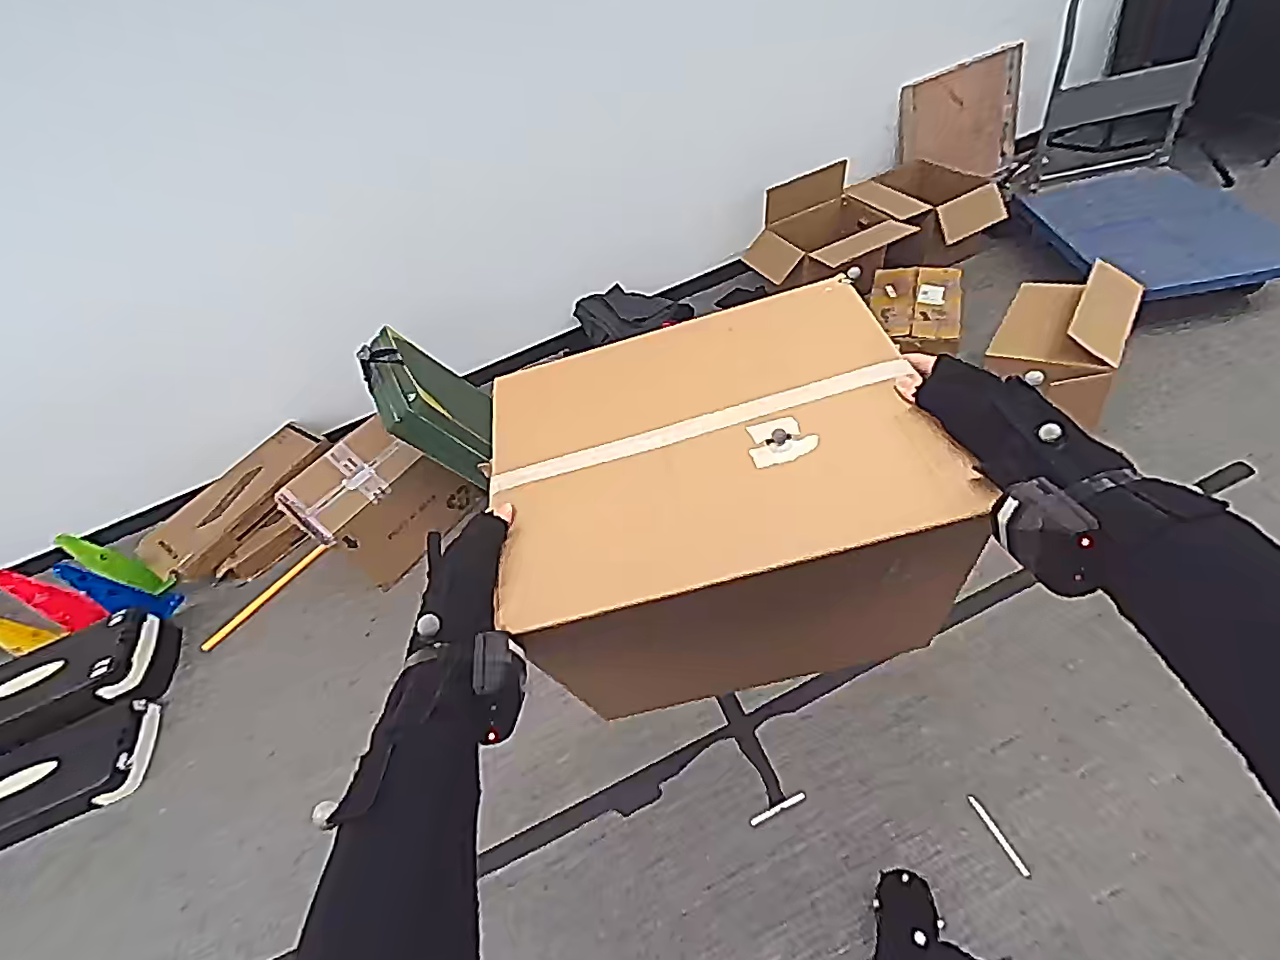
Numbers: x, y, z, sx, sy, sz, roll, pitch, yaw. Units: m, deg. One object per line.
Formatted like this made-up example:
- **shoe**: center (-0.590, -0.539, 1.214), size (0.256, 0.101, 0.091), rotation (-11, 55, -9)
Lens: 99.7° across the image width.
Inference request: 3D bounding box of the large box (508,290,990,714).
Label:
- **large box**: center (0.092, 0.042, 0.643), size (0.408, 0.320, 0.320), rotation (-15, 53, 4)
